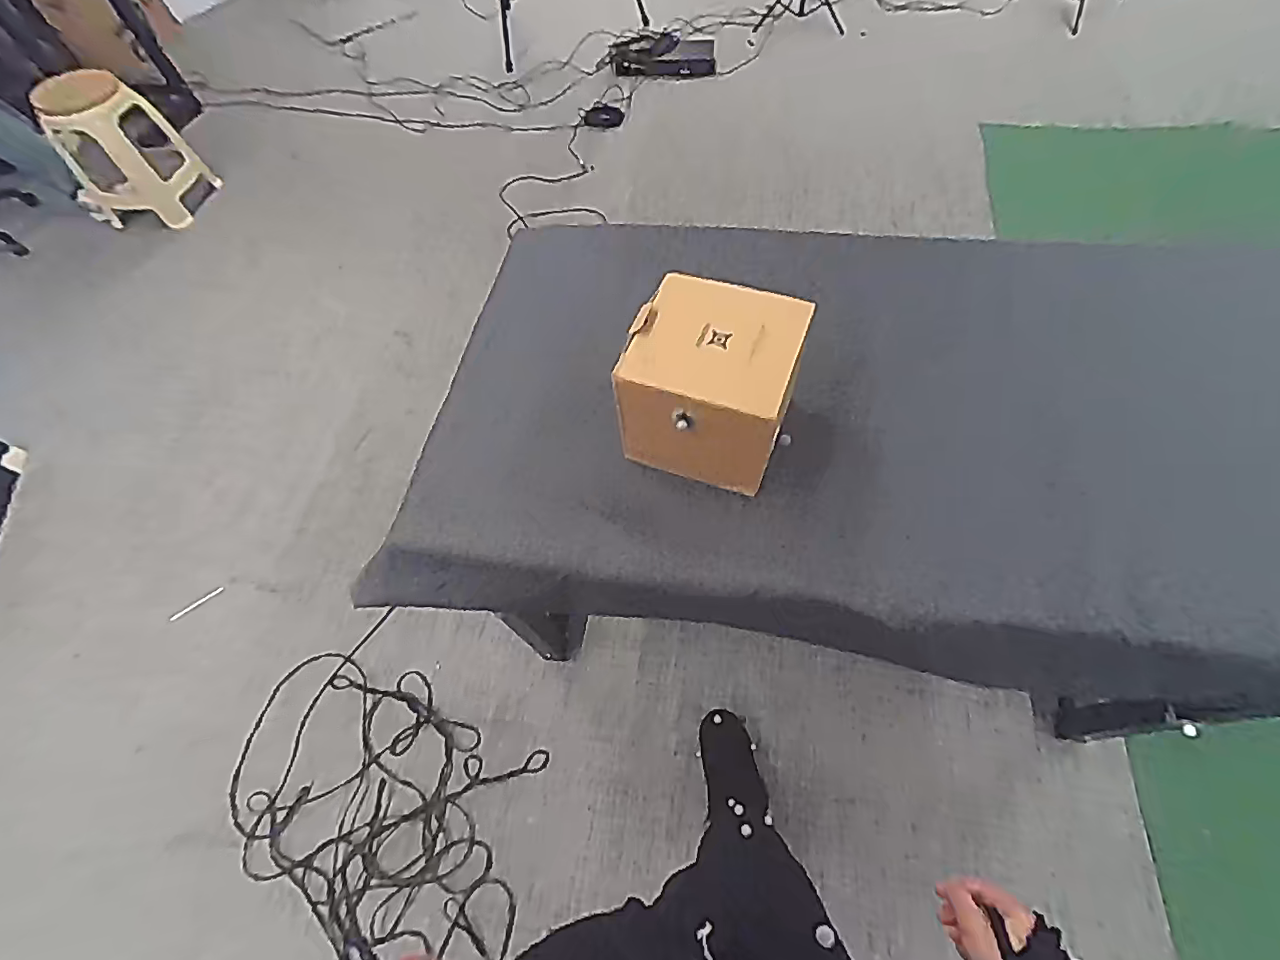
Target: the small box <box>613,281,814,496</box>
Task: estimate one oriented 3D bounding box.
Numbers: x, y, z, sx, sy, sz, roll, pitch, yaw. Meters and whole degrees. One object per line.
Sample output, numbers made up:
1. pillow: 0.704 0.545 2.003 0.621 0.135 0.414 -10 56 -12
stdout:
1. small box: 0.086 -0.102 0.643 0.179 0.176 0.168 18 63 14
